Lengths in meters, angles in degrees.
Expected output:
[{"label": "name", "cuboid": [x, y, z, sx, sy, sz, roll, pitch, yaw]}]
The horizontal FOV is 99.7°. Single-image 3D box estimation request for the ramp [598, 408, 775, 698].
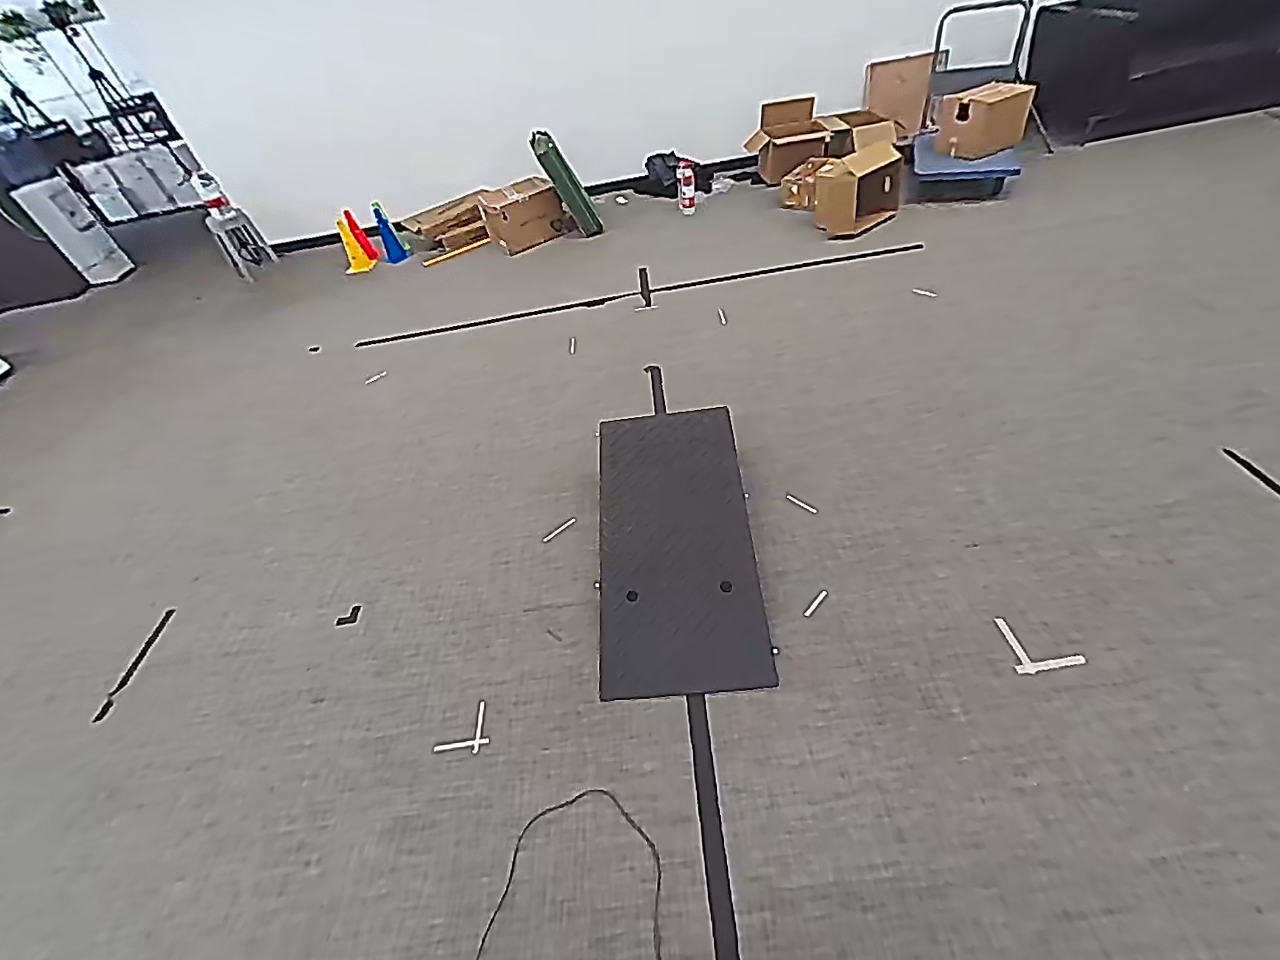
[{"label": "ramp", "cuboid": [0.107, 0.170, 1.759, 0.509, 0.206, 0.991, -7, 45, 3]}]
